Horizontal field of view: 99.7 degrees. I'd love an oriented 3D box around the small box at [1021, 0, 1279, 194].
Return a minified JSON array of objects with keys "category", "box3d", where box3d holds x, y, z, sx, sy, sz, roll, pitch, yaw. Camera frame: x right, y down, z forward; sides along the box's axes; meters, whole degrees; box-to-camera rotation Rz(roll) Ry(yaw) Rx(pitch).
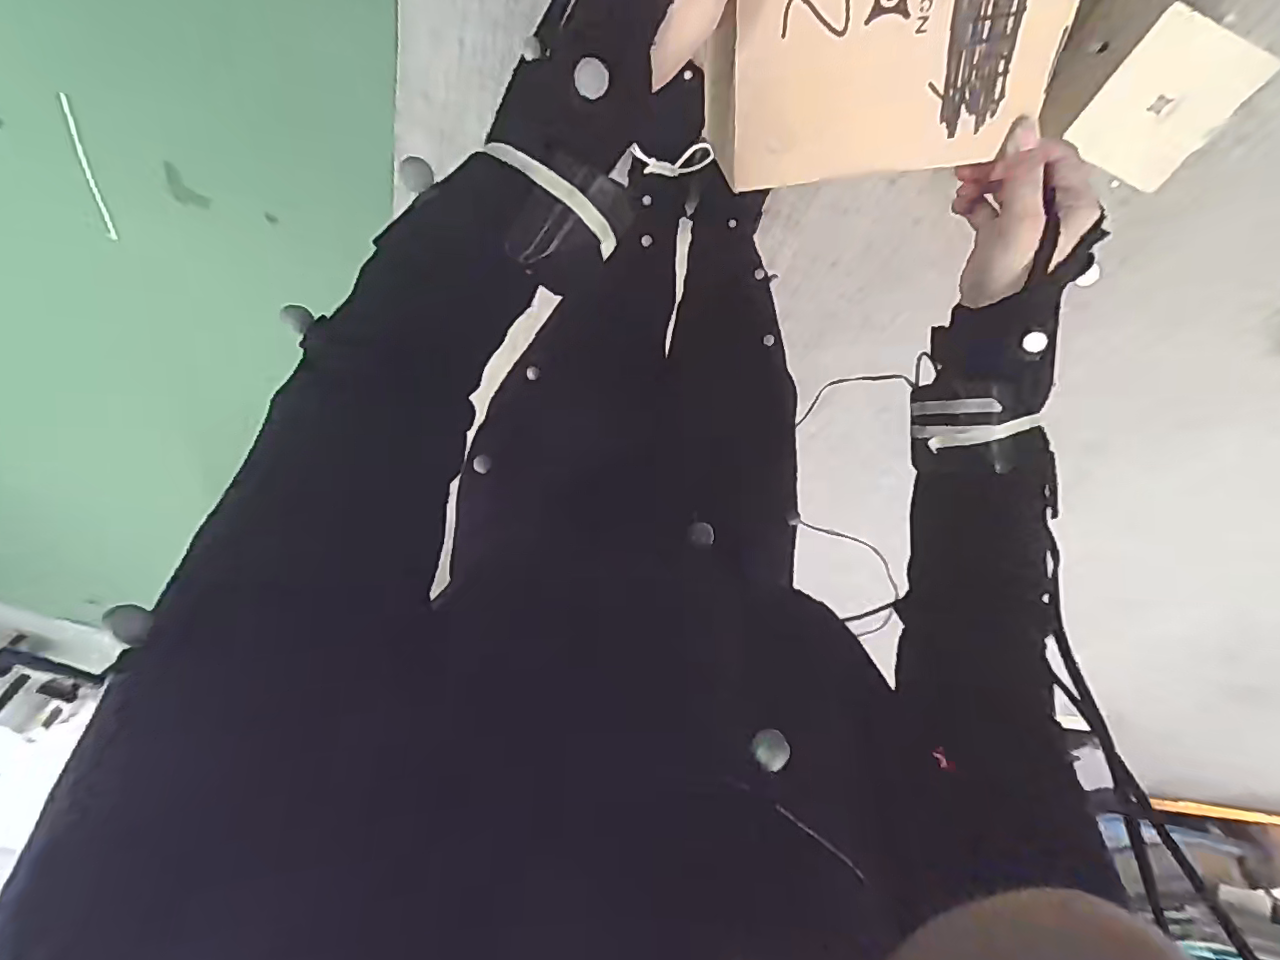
[{"category":"small box","box3d":[0.690,-0.543,0.760,0.179,0.176,0.168,18,137,-9]}]
